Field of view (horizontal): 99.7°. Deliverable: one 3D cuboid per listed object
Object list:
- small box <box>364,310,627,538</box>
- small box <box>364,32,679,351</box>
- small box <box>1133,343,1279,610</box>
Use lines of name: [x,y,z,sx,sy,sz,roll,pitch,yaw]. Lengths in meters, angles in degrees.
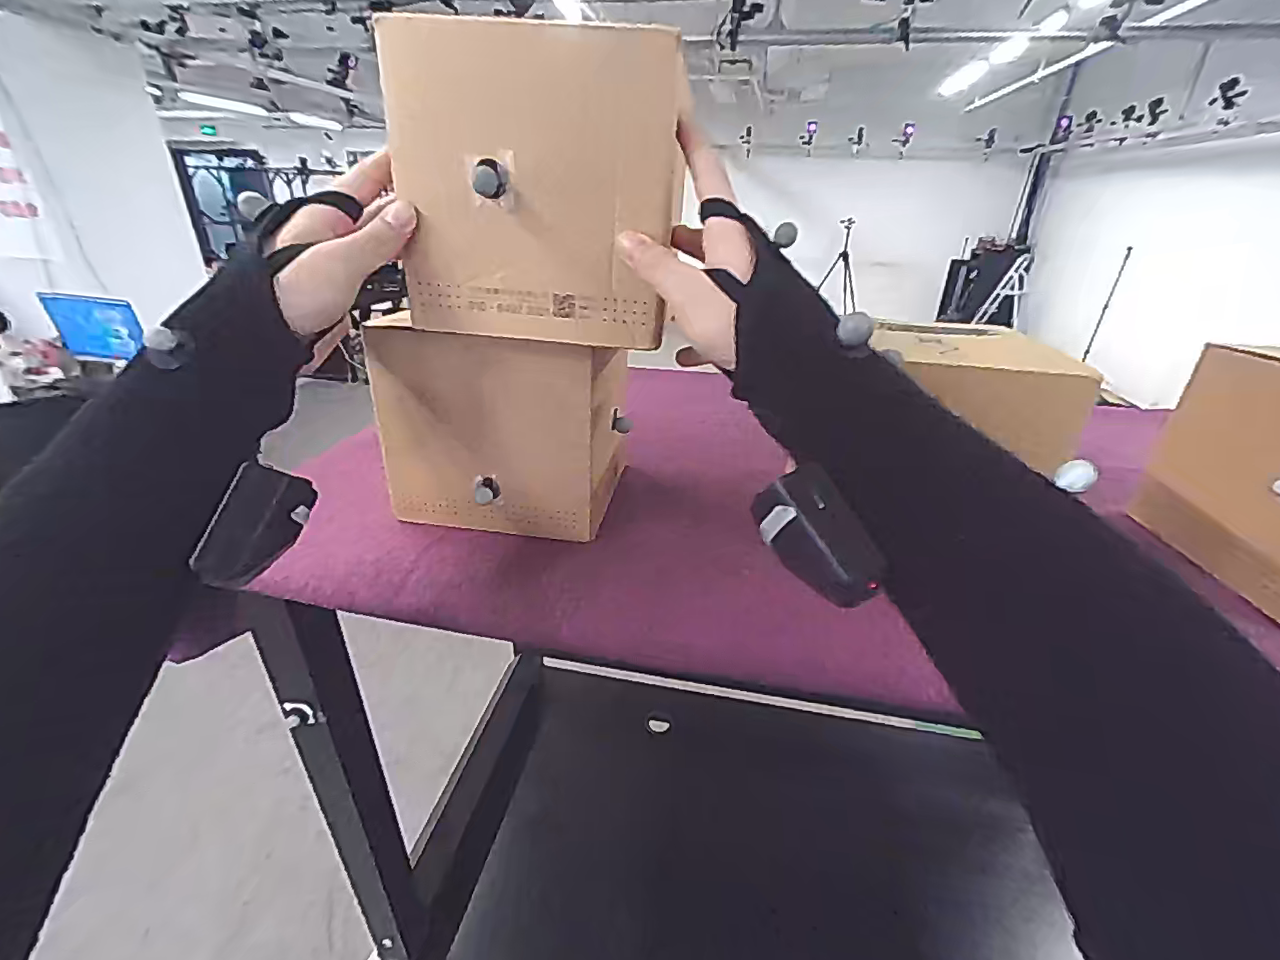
small box: [-0.111,-0.063,0.493,0.179,0.176,0.168,6,26,6]
small box: [-0.063,-0.196,0.396,0.168,0.176,0.179,5,25,5]
small box: [0.536,0.003,0.400,0.168,0.176,0.179,6,25,7]
